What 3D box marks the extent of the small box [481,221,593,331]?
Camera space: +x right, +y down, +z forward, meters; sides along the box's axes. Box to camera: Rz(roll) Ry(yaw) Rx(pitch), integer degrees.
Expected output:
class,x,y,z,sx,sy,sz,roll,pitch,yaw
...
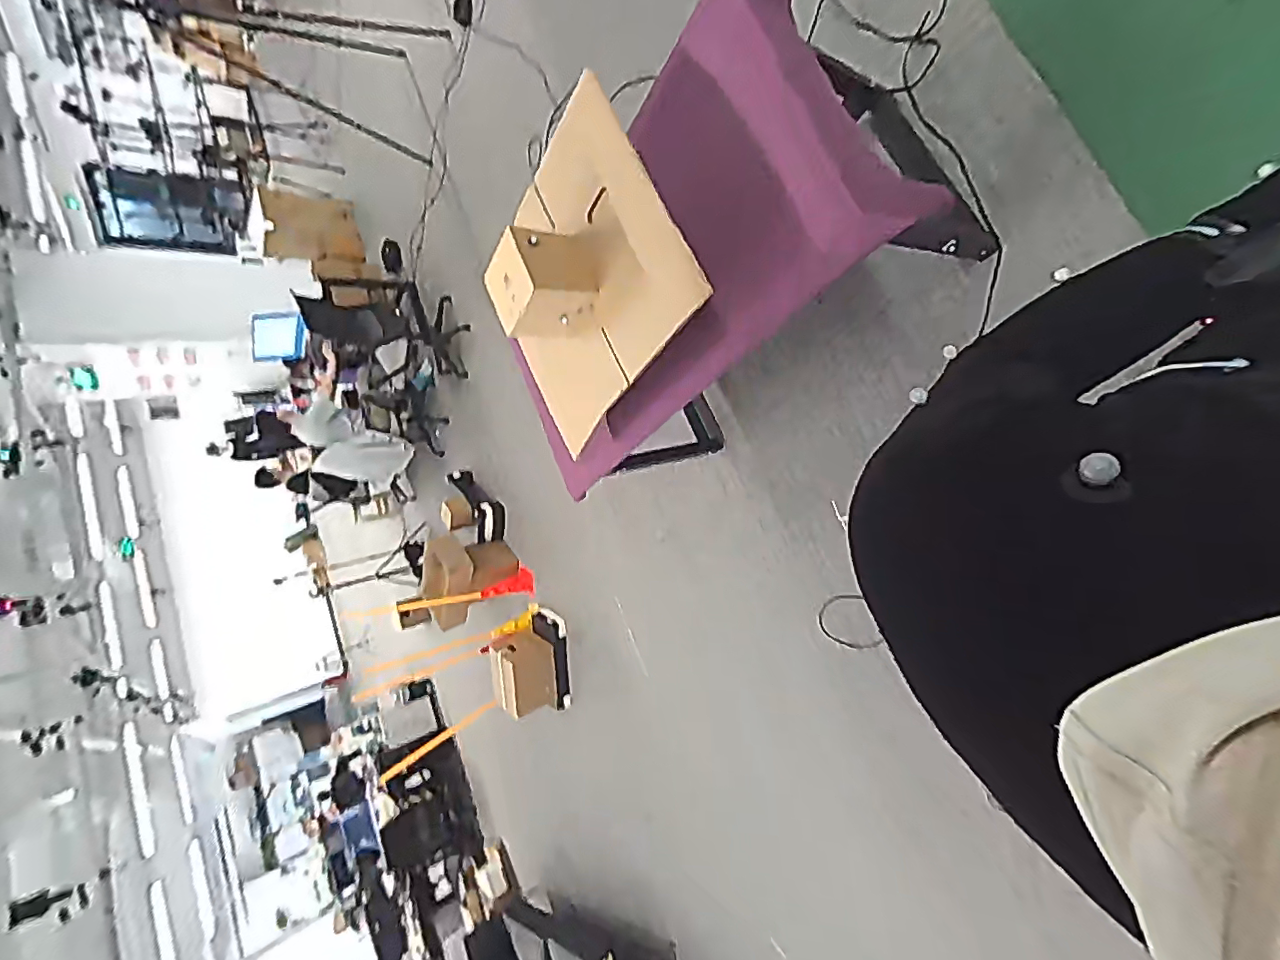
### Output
class,x,y,z,sx,sy,sz,roll,pitch,yaw
small box,-0.237,-0.460,1.248,0.168,0.176,0.179,-38,71,47
